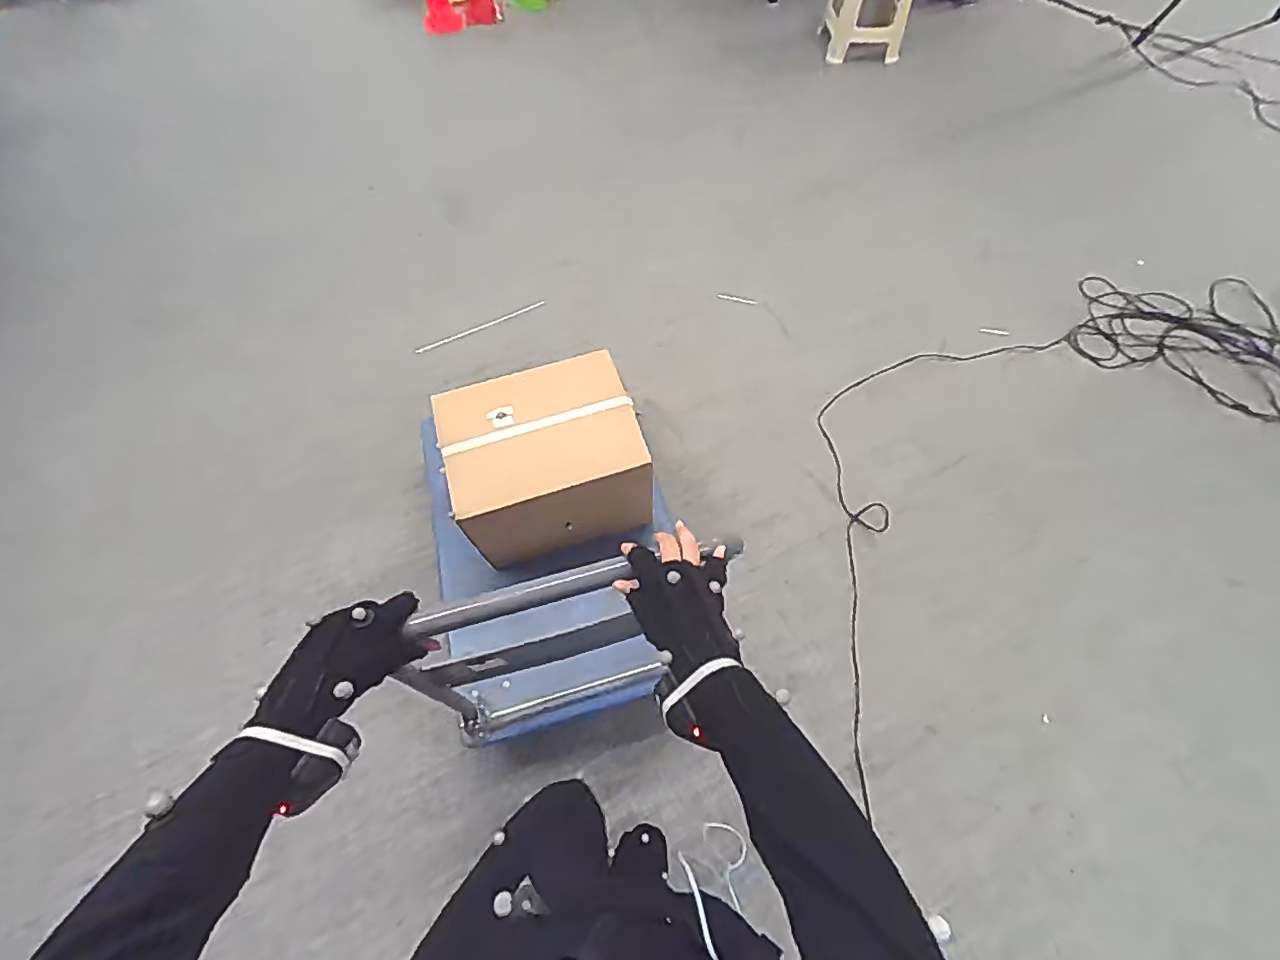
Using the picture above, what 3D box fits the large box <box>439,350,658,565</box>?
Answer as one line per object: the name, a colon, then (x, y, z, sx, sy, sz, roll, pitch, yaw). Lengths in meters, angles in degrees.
large box: (-0.197, -0.041, 1.270, 0.408, 0.320, 0.320, -18, 64, -7)
